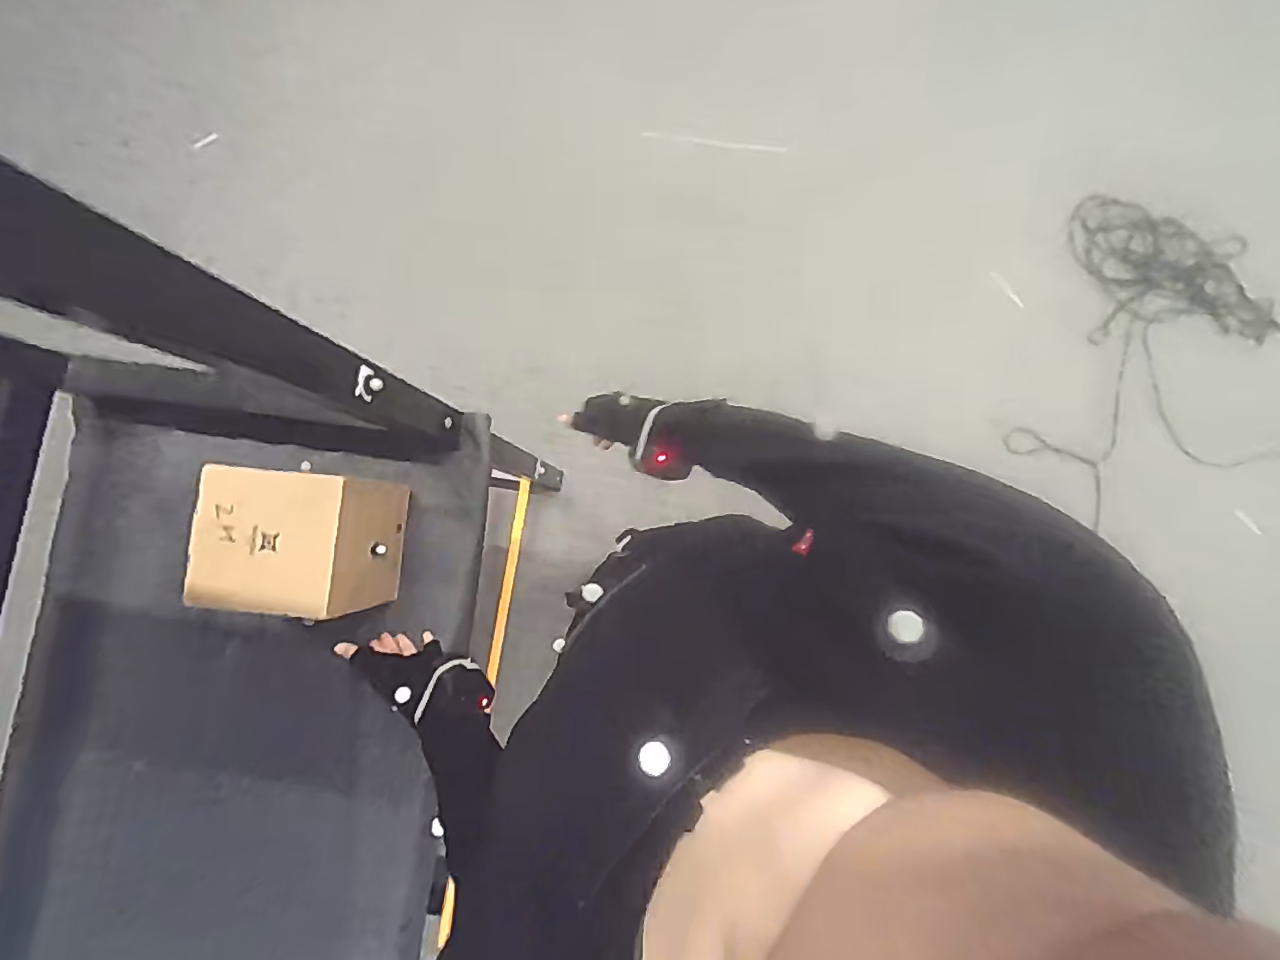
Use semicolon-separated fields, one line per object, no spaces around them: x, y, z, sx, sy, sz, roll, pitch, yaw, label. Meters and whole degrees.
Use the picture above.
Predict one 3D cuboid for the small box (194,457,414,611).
-0.422;0.067;0.710;0.179;0.176;0.168;5;86;4;small box
